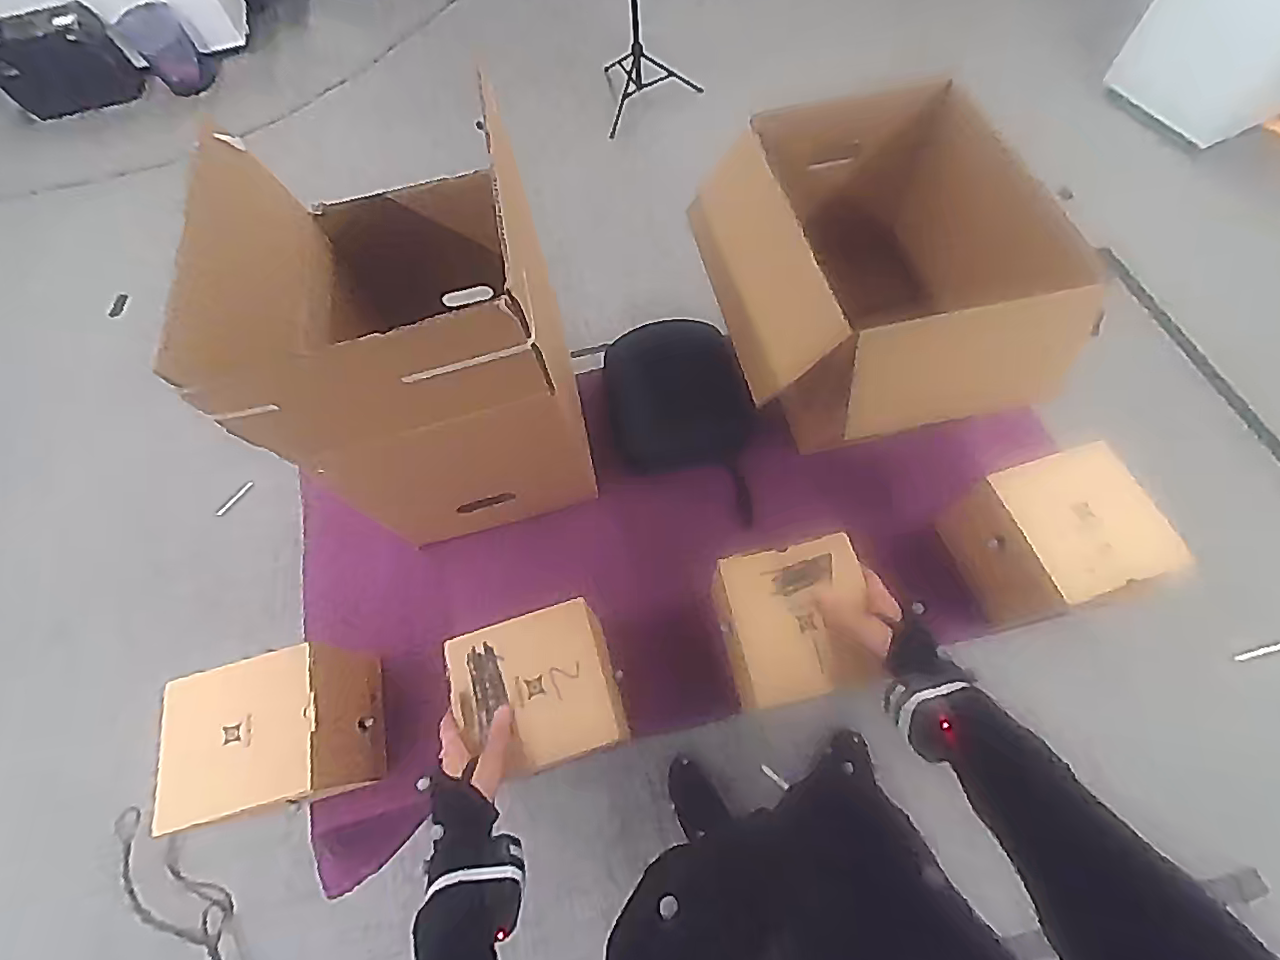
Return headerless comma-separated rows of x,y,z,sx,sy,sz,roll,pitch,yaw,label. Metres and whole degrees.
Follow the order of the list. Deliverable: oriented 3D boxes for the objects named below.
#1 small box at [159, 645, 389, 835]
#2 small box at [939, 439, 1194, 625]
-0.449,0.327,0.691,0.179,0.176,0.168,-16,65,-4,small box
0.542,0.076,0.724,0.168,0.176,0.179,-17,65,-2,small box
